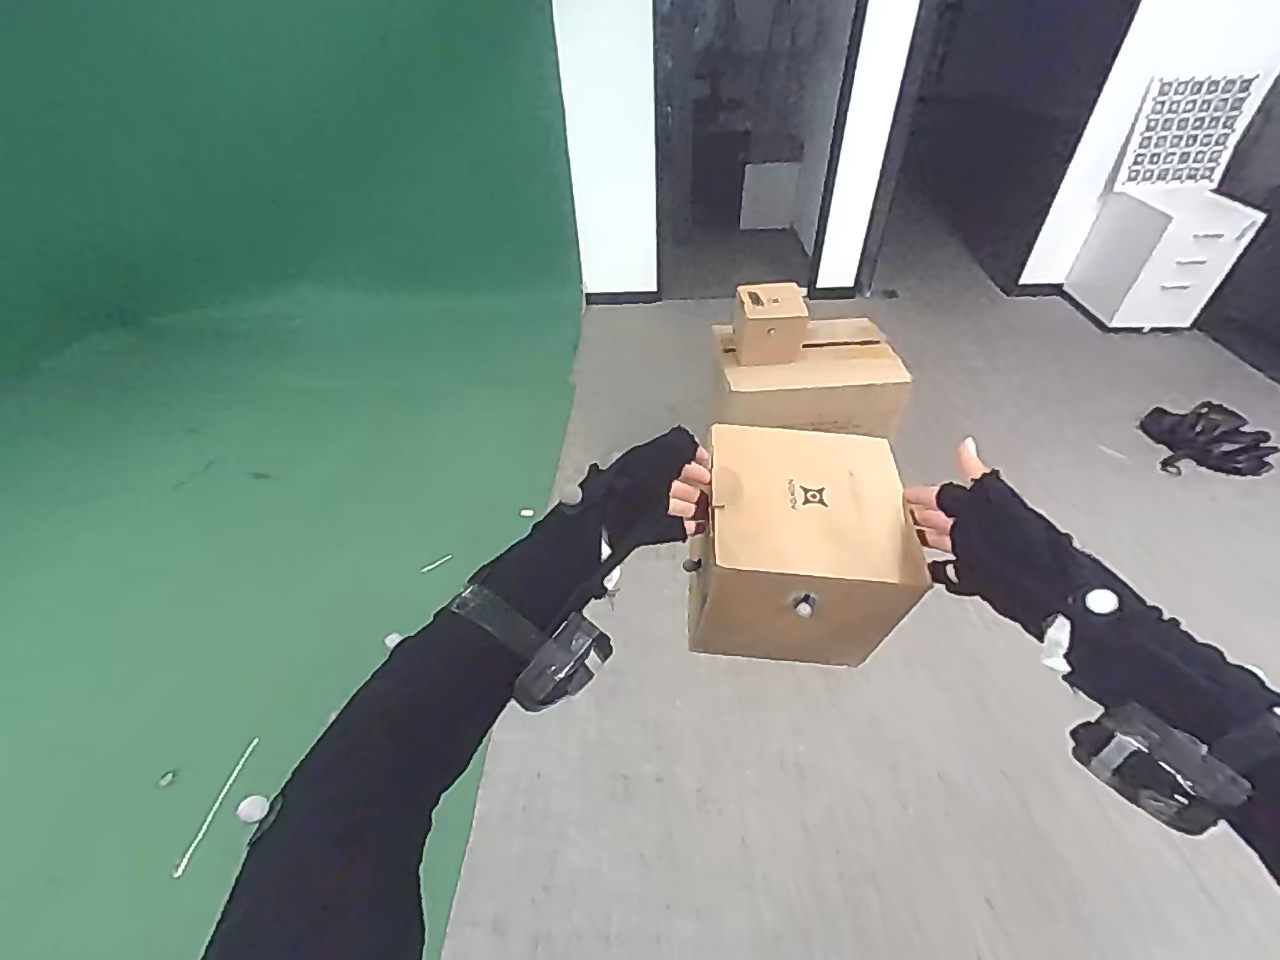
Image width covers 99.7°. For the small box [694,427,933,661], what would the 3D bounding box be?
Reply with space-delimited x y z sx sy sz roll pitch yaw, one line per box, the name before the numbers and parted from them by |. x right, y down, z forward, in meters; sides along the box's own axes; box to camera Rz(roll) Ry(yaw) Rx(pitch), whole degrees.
small box | 0.150 0.069 0.544 0.179 0.176 0.168 6 50 -1

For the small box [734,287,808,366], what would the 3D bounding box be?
small box | 0.380 -0.453 1.611 0.179 0.176 0.168 -3 52 -1
